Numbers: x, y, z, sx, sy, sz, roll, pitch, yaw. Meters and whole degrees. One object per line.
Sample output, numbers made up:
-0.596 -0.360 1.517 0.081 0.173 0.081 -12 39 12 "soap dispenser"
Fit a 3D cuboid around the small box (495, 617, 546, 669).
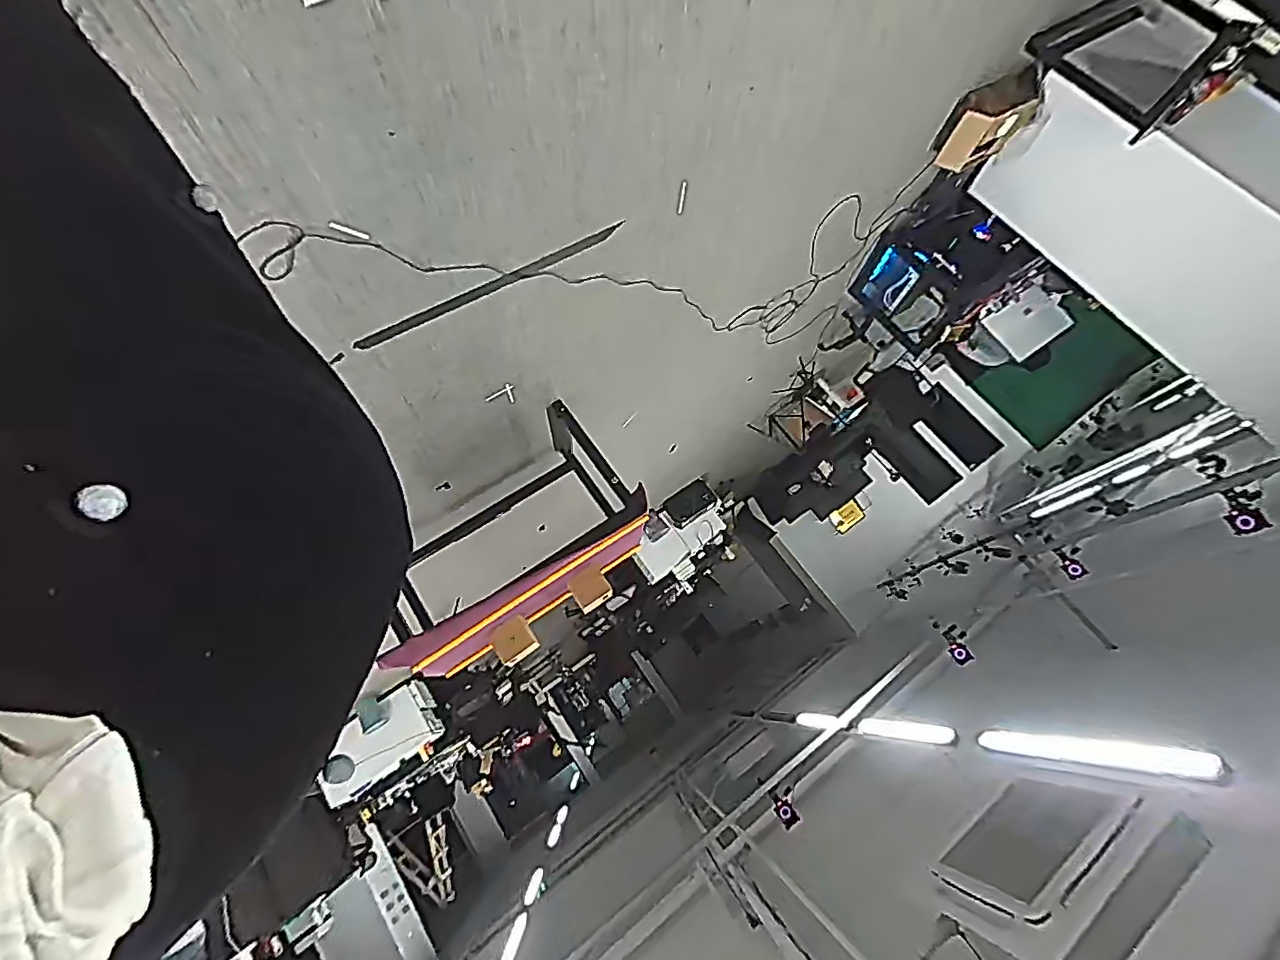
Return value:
-0.589 0.796 2.640 0.179 0.176 0.168 -35 162 -13 "small box"
